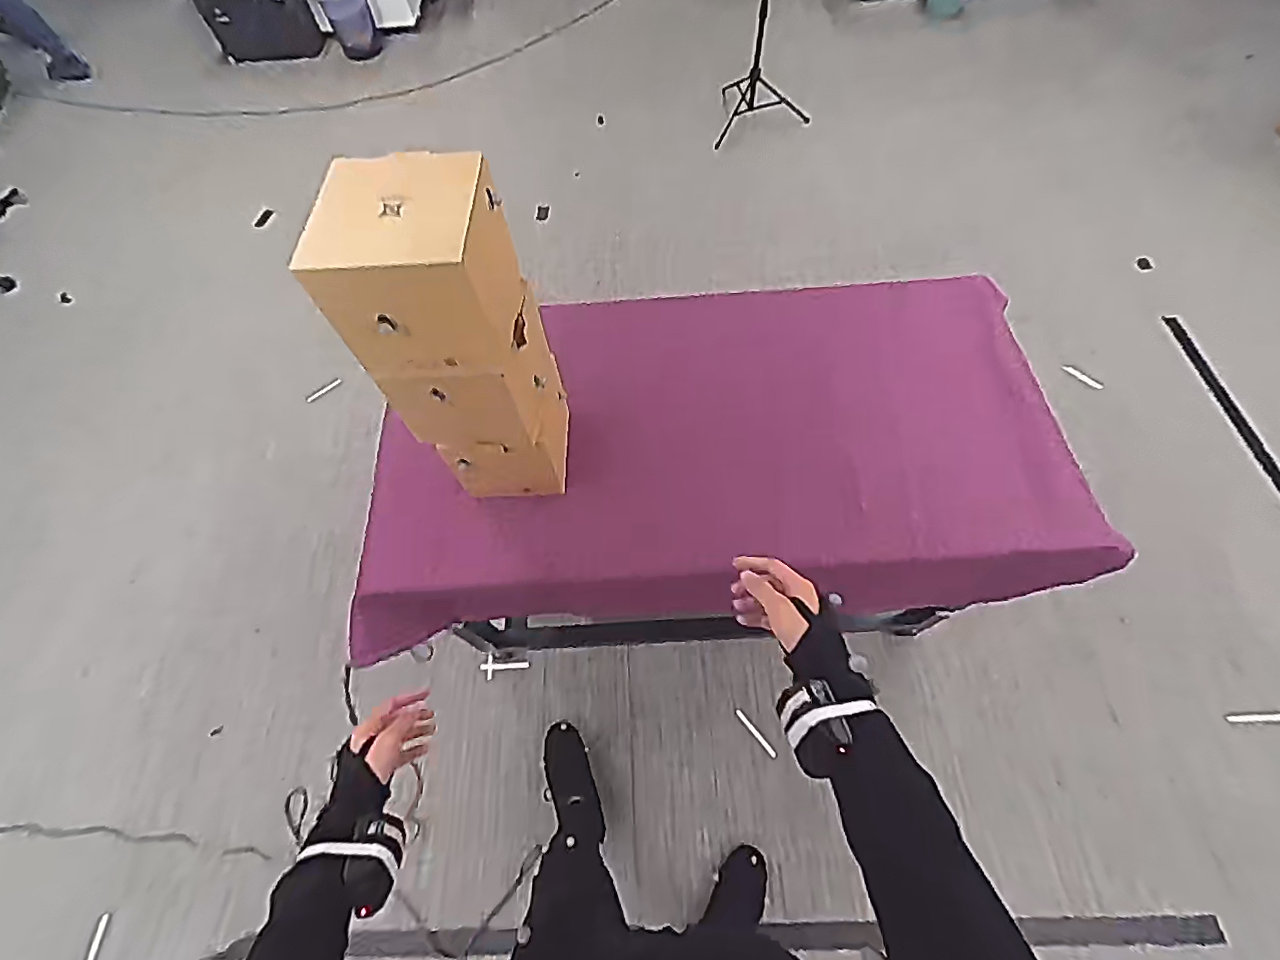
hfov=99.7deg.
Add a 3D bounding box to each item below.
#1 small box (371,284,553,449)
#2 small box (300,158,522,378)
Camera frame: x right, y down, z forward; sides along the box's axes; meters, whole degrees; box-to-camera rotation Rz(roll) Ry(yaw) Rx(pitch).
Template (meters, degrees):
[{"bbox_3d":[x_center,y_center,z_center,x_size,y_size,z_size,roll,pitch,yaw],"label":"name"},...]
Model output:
[{"bbox_3d":[-0.234,-0.156,0.762,0.179,0.176,0.168,4,62,4],"label":"small box"},{"bbox_3d":[-0.239,-0.230,0.617,0.168,0.176,0.179,-2,61,1],"label":"small box"}]
